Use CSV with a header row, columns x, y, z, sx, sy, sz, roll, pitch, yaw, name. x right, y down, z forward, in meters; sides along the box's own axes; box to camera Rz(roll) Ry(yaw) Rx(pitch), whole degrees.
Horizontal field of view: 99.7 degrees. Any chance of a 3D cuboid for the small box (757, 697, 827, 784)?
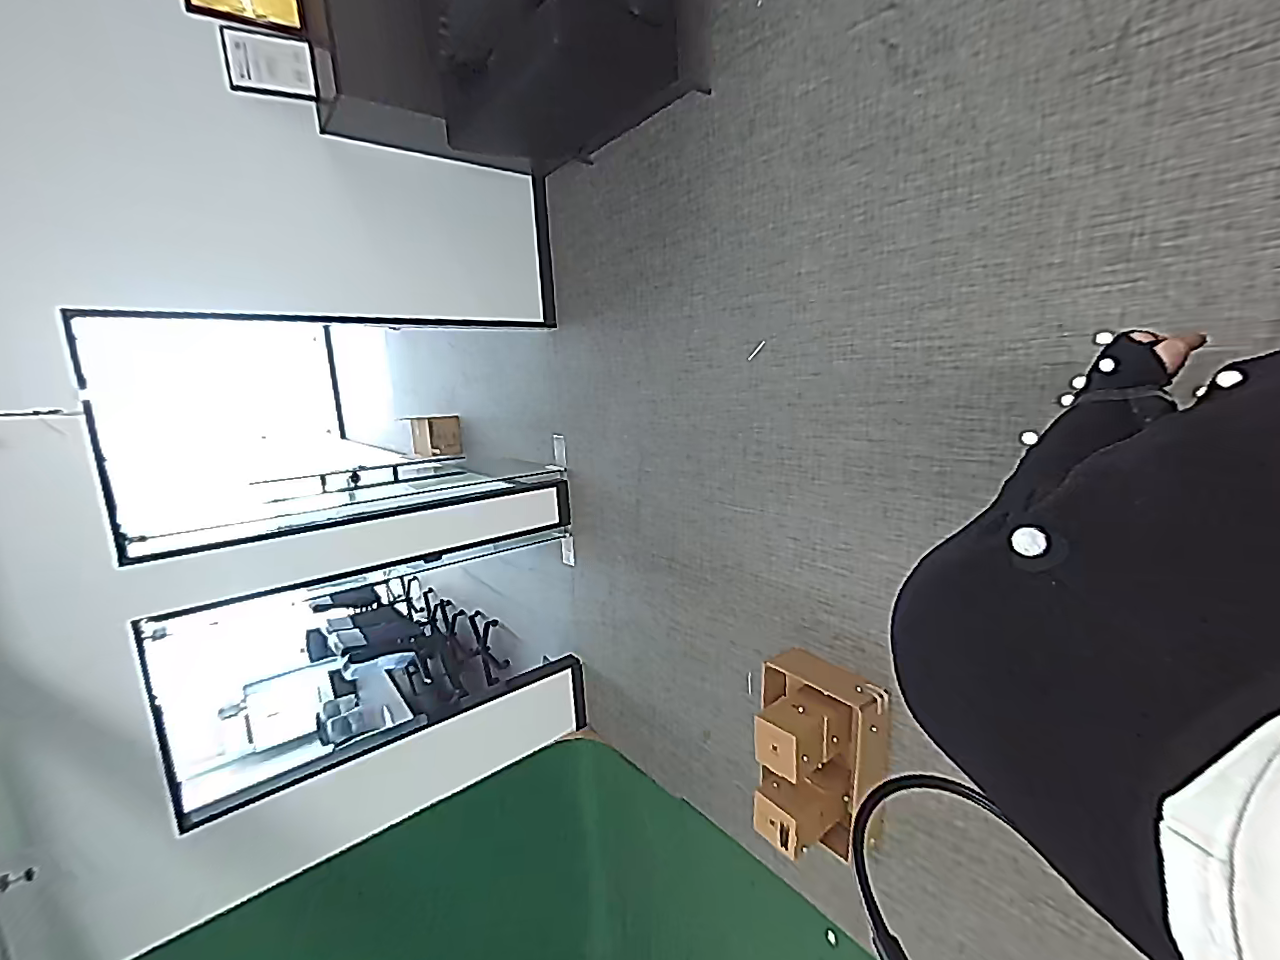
x,y,z,sx,sy,sz,roll,pitch,yaw,name
0.515,0.874,1.828,0.168,0.176,0.179,10,106,50,small box
